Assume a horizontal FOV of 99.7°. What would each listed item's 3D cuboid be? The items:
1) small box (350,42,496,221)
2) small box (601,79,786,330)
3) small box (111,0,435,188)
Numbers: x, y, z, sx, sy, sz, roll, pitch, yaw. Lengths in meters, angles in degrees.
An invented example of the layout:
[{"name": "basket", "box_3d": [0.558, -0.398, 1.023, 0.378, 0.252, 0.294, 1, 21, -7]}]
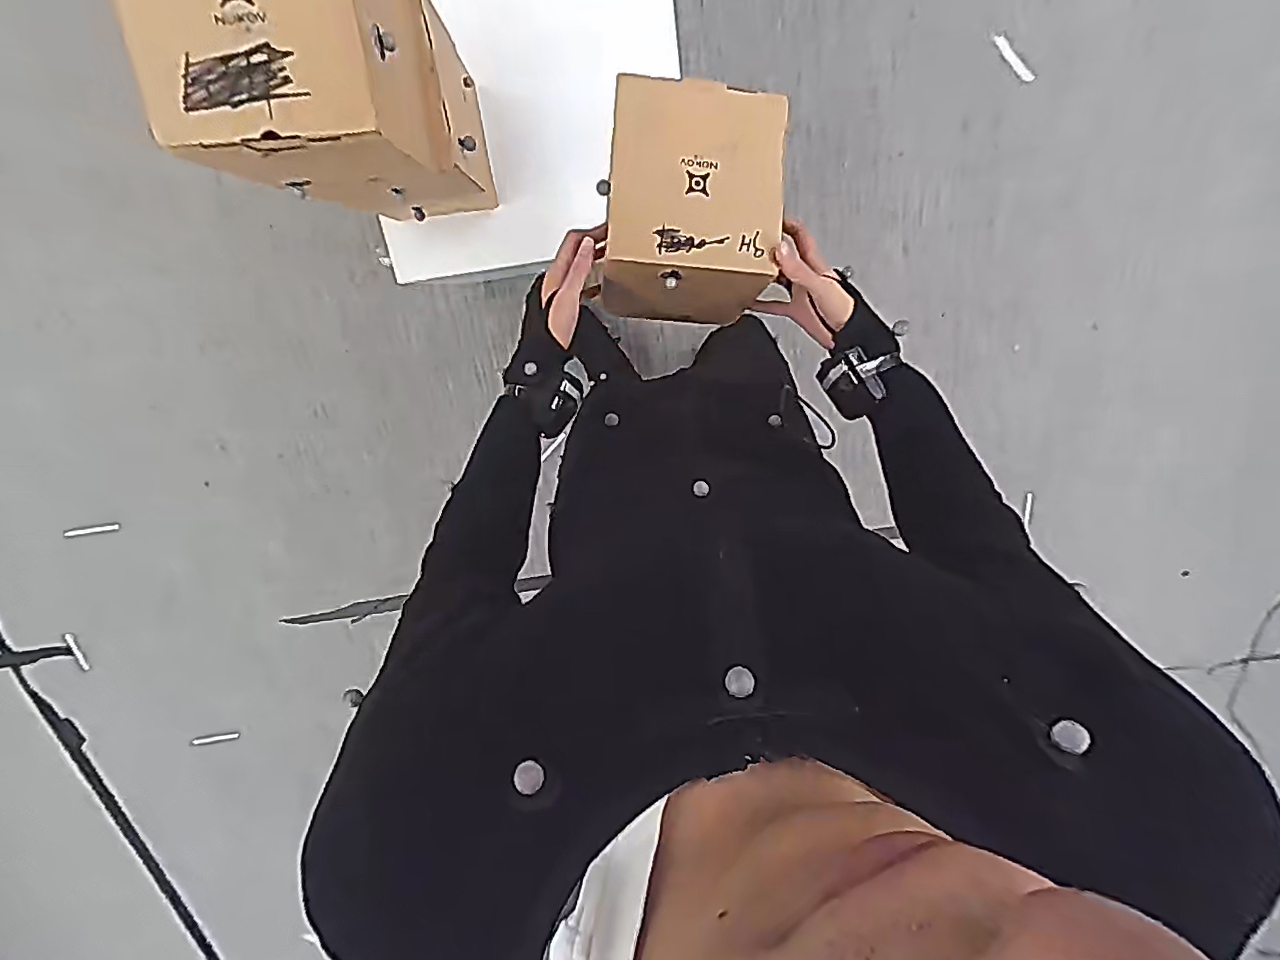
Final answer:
[{"name": "small box", "box_3d": [-0.311, -0.473, 0.763, 0.168, 0.176, 0.179, -9, 110, -3]}, {"name": "small box", "box_3d": [0.046, -0.279, 0.585, 0.168, 0.176, 0.179, 3, 89, -6]}, {"name": "small box", "box_3d": [-0.288, -0.357, 0.456, 0.168, 0.176, 0.179, -6, 109, -3]}]
